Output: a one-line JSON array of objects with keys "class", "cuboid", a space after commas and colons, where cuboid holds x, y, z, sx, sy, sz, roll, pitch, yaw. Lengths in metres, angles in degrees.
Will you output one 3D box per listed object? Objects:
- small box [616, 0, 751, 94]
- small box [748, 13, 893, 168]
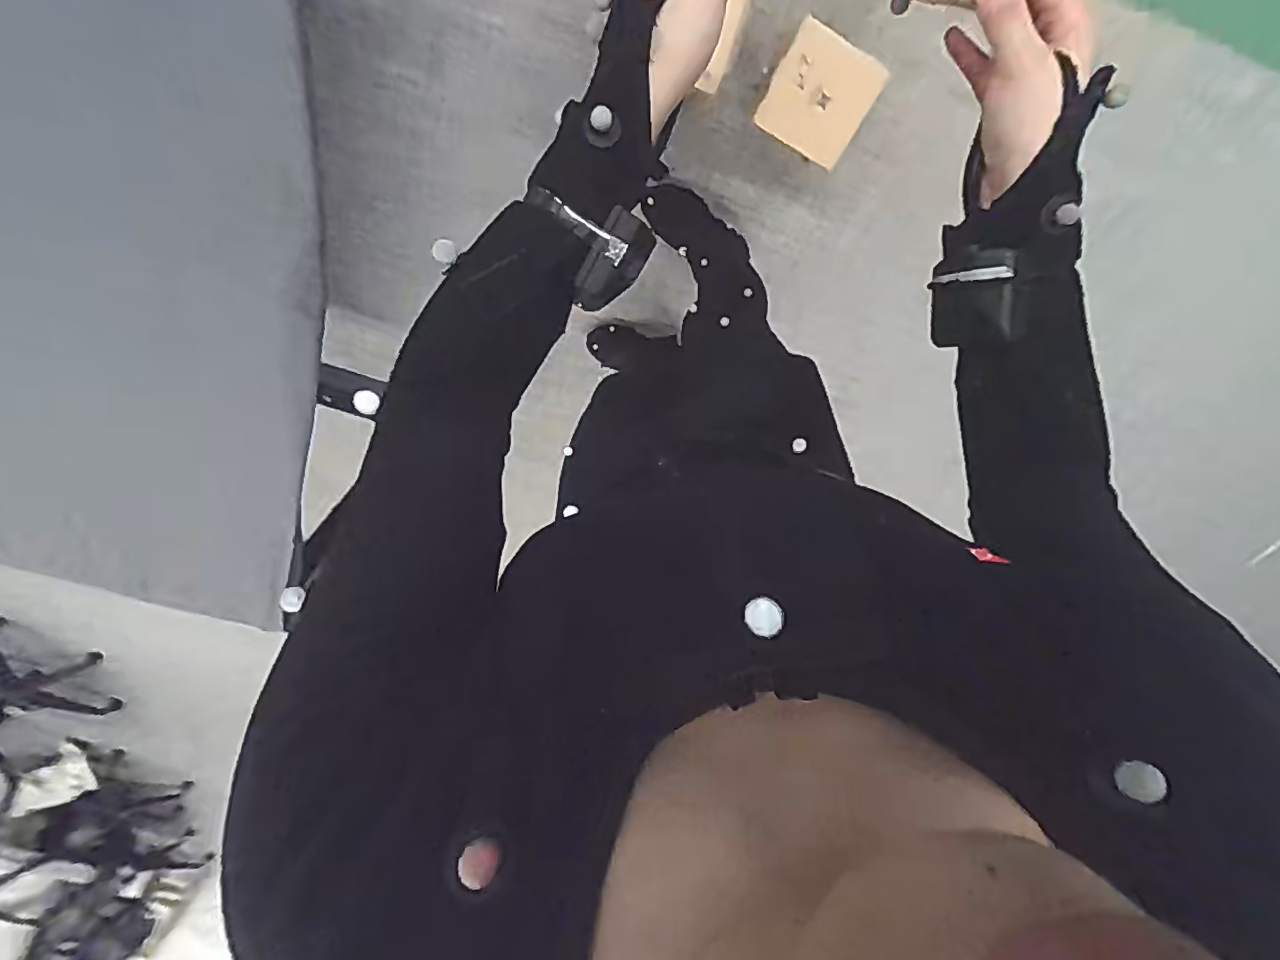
[{"class": "small box", "cuboid": [0.071, -0.712, 0.810, 0.168, 0.176, 0.179, 17, 124, -9]}, {"class": "small box", "cuboid": [0.319, -0.711, 0.994, 0.179, 0.176, 0.168, 24, 124, -13]}]
